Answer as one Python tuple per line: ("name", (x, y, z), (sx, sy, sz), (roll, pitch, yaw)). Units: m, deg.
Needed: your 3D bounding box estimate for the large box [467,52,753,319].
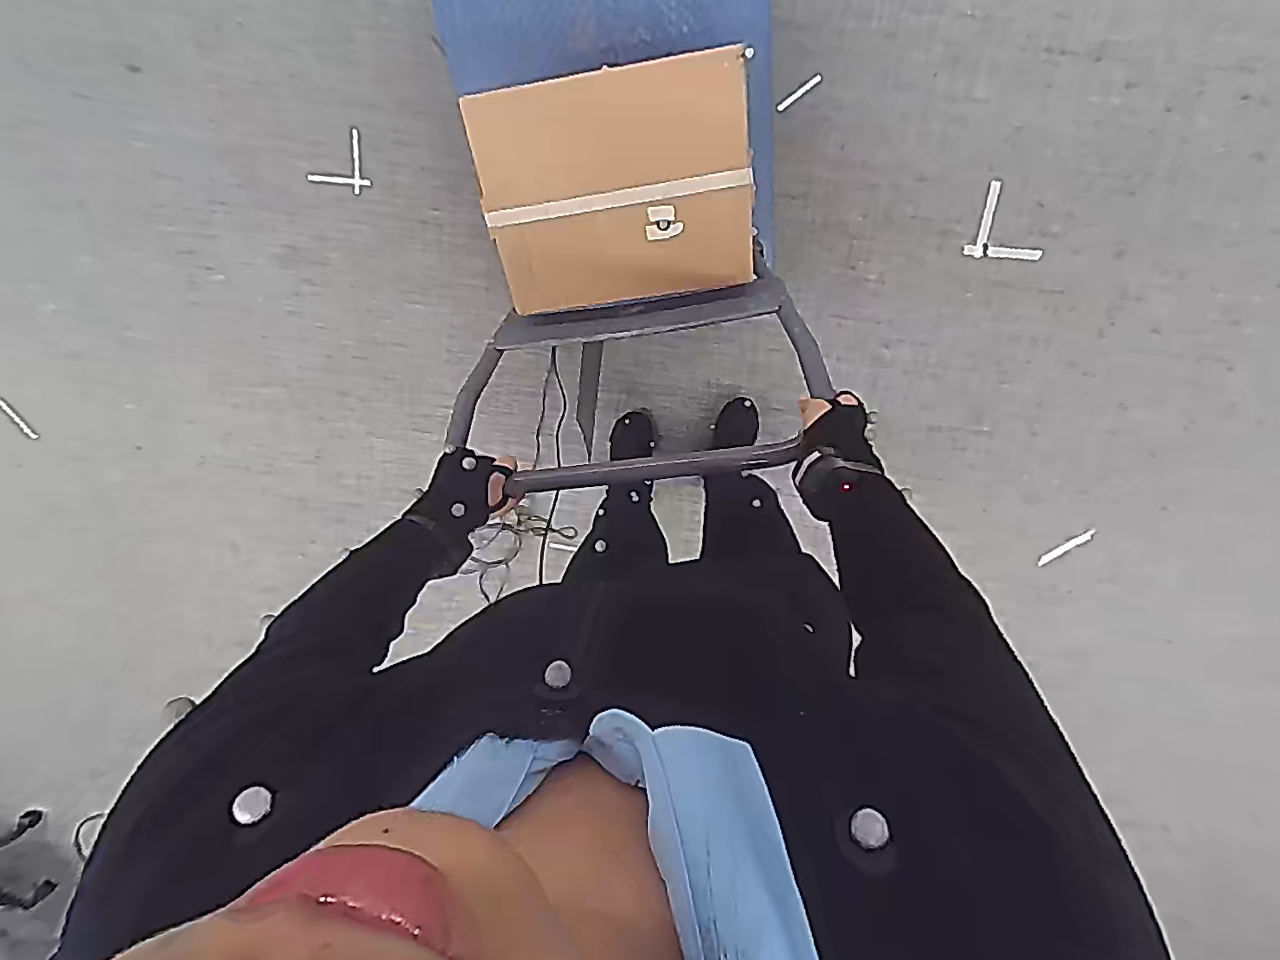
("large box", (-0.031, -0.510, 0.960), (0.408, 0.320, 0.320), (-7, 124, 6))
